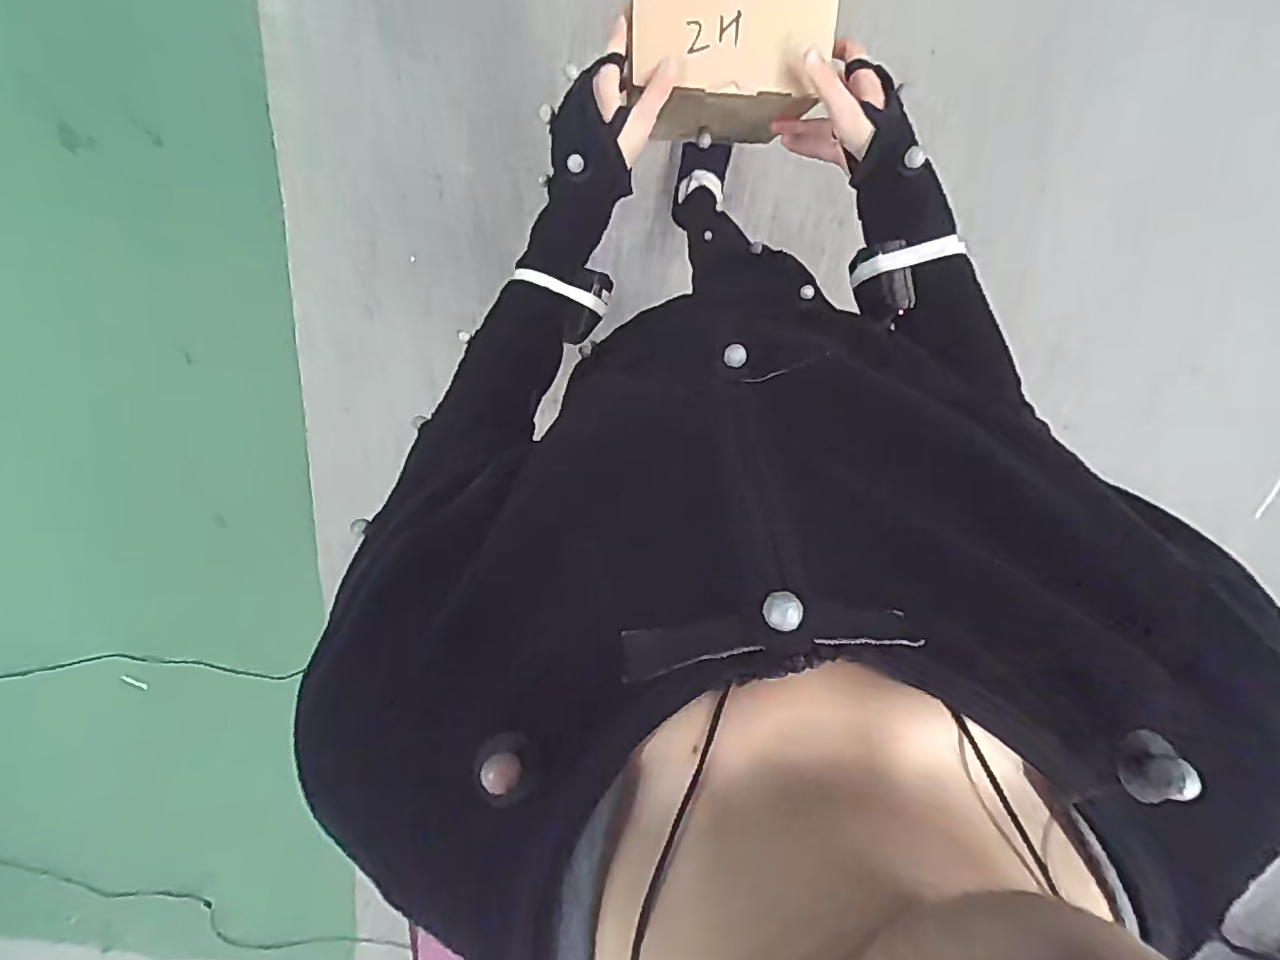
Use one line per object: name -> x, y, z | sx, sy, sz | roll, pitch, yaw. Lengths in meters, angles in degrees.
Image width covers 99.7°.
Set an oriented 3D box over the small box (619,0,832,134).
small box -> 0.067, -0.438, 0.487 | 0.168, 0.176, 0.179 | 1, 111, -4
